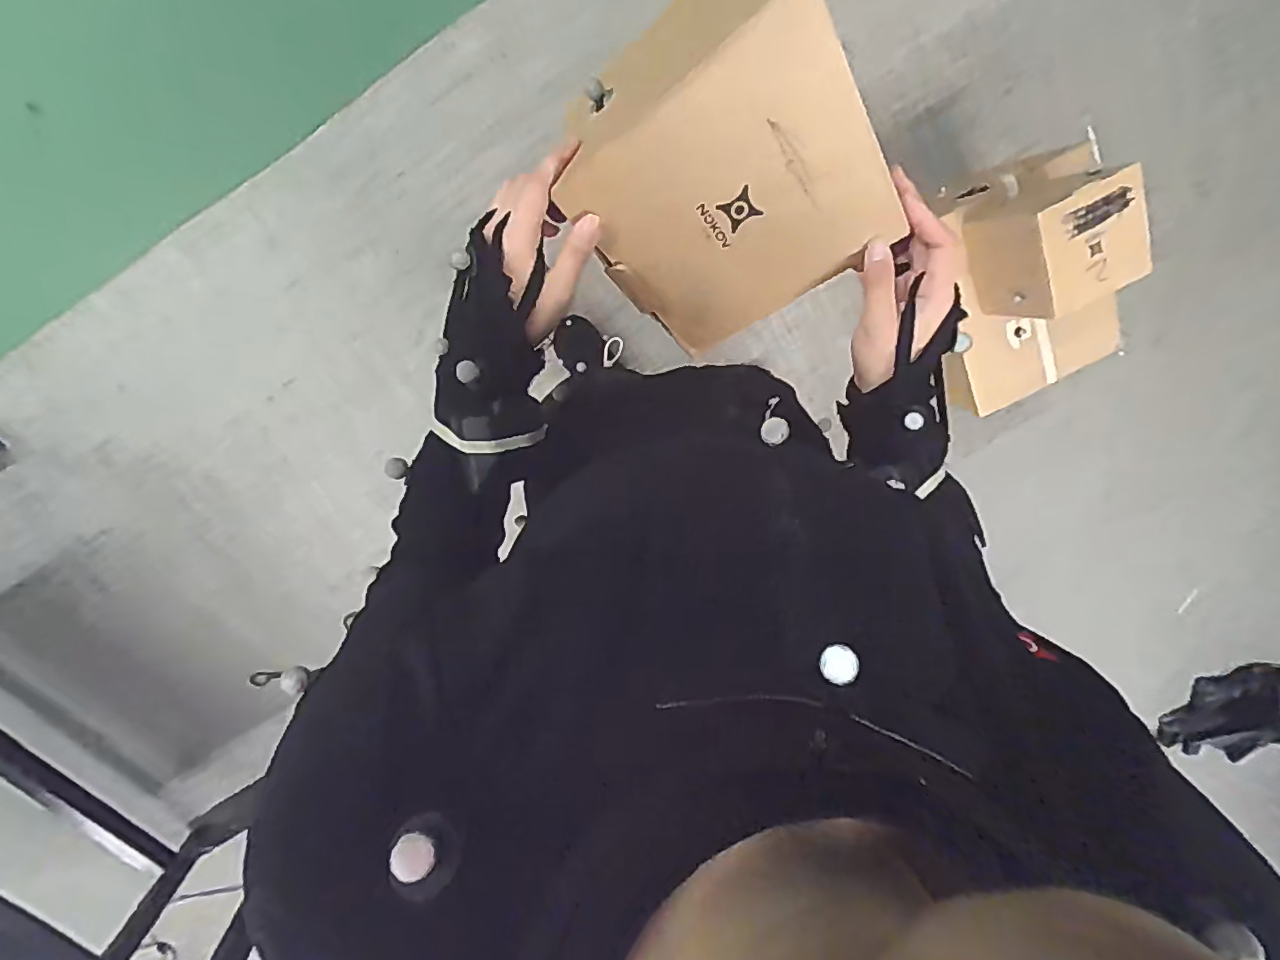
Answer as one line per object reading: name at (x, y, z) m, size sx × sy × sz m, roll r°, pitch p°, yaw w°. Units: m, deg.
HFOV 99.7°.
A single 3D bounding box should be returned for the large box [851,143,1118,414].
large box at (0.718, -0.413, 1.161) m, size 0.320 × 0.320 × 0.408 m, roll -27°, pitch 111°, yaw 4°
